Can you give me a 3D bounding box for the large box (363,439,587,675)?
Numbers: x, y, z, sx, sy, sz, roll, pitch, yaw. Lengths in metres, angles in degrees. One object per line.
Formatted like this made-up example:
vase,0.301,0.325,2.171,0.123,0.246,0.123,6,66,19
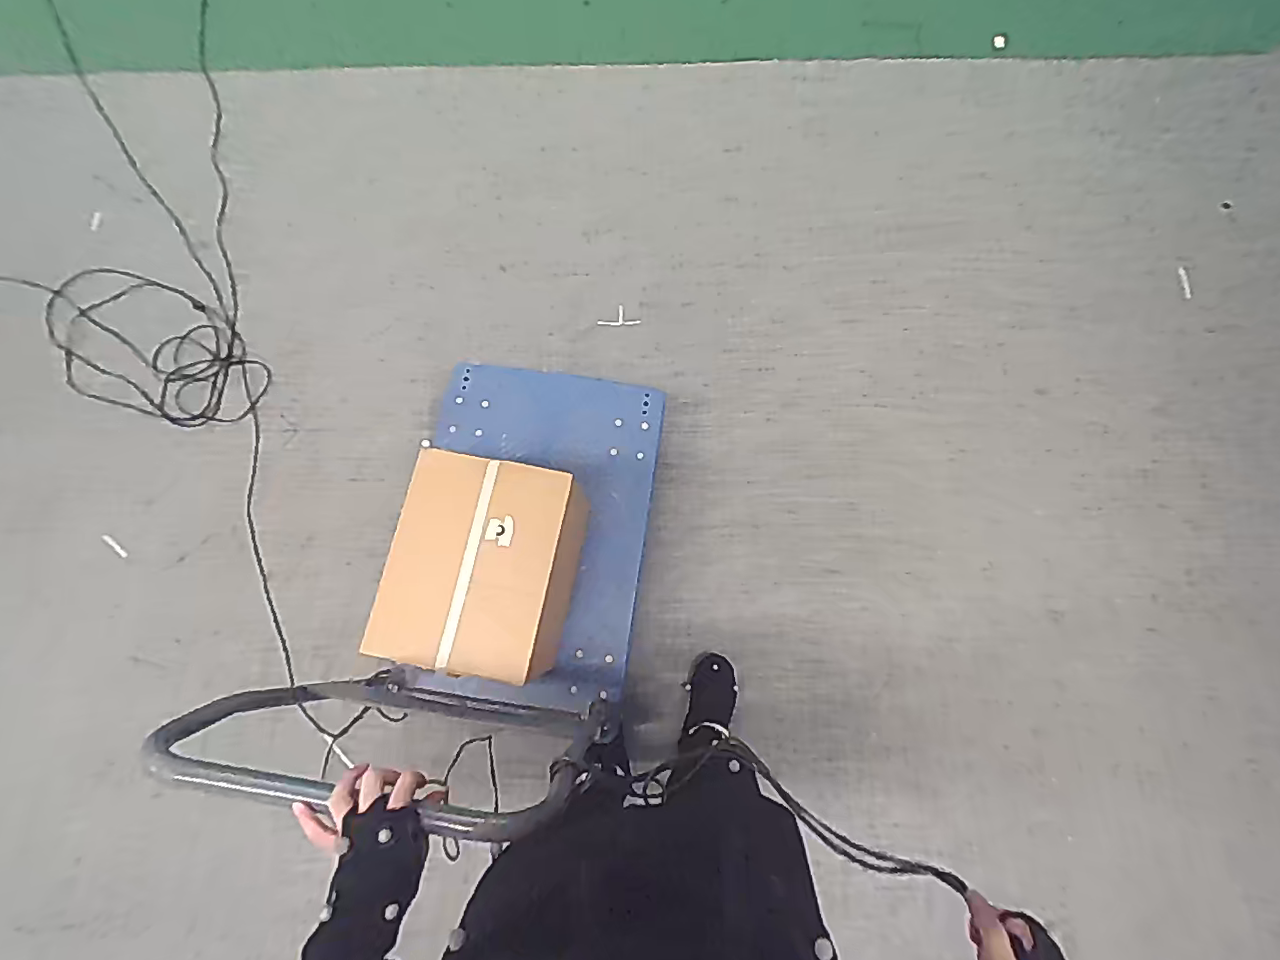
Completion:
large box,-0.317,0.170,1.156,0.320,0.320,0.408,11,77,3
